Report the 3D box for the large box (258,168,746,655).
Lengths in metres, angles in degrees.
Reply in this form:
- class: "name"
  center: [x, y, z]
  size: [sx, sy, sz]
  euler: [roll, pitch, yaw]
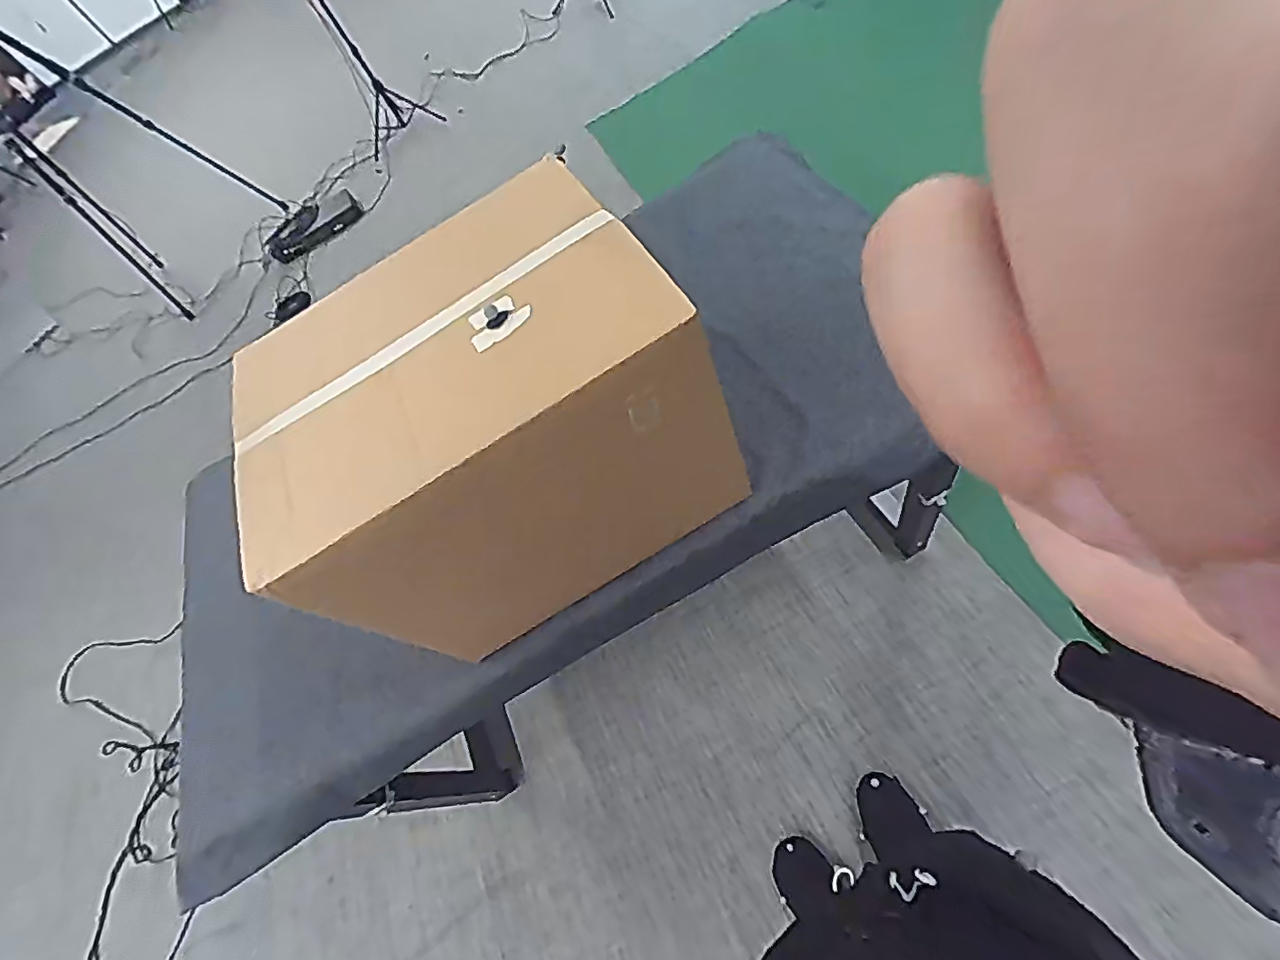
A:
- class: "large box"
  center: [-0.142, -0.060, 0.628]
  size: [0.408, 0.320, 0.320]
  euler: [-32, 57, 0]
